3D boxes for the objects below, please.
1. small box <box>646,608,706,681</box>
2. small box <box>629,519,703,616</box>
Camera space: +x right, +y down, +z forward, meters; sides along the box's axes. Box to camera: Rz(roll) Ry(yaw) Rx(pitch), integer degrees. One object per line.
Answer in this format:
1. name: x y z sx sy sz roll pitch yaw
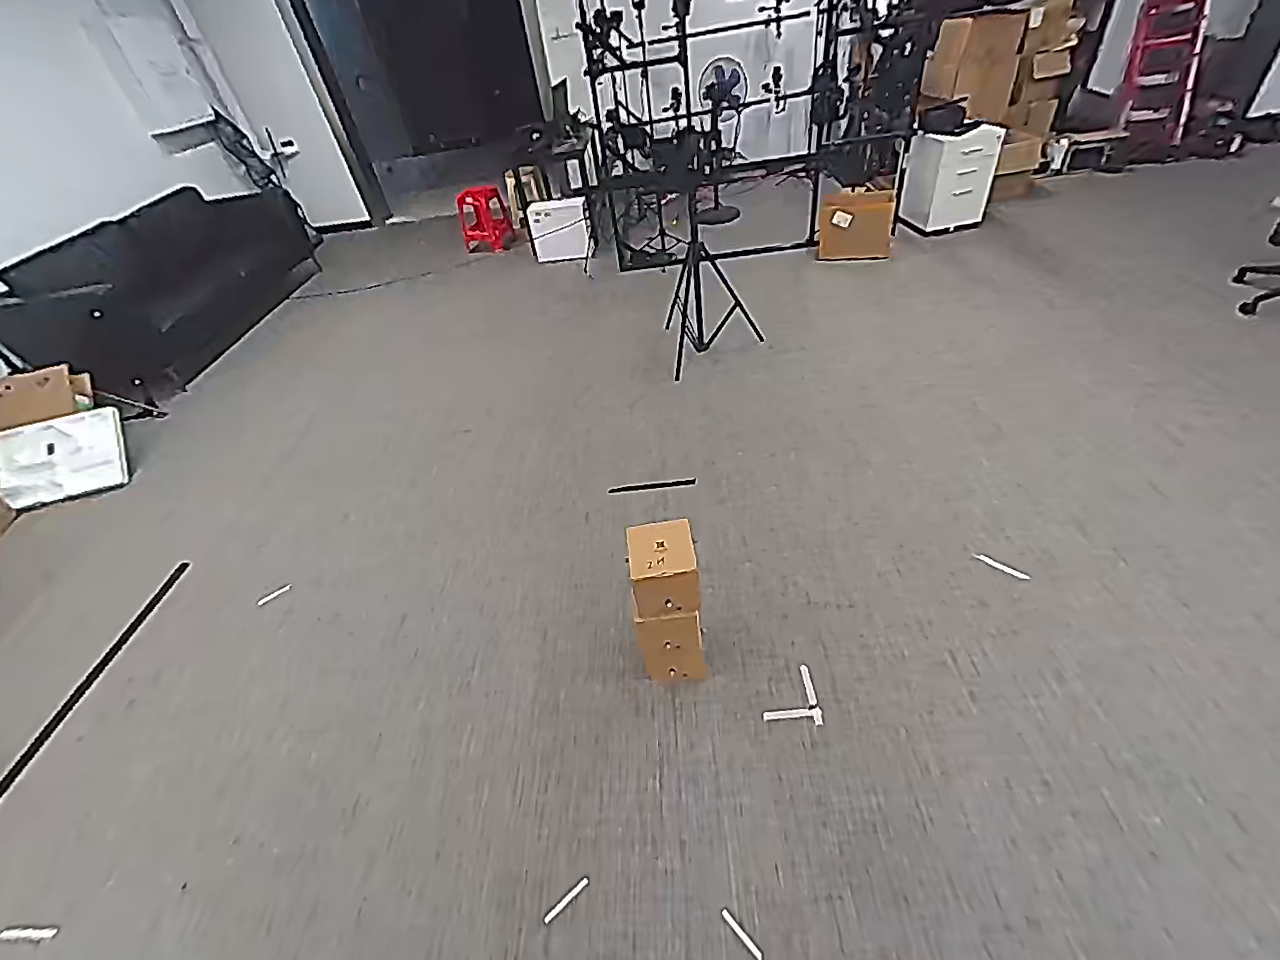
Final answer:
1. small box: 0.106 0.478 1.622 0.168 0.176 0.179 -7 41 4
2. small box: 0.067 0.229 1.410 0.168 0.176 0.179 -9 42 2
